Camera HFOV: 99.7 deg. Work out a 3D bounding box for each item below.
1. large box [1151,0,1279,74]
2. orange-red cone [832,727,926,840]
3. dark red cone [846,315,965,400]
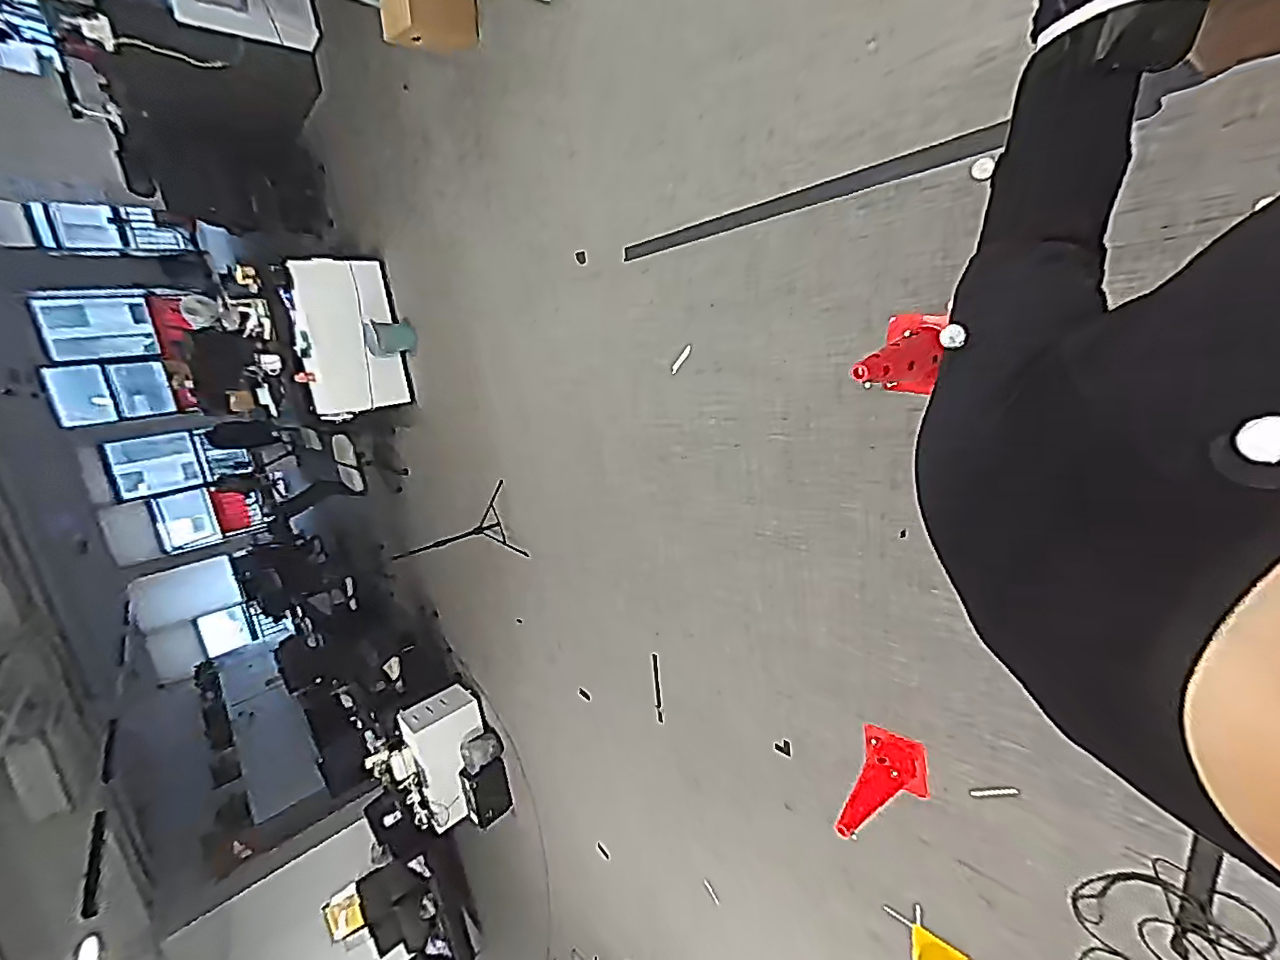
[{"bbox_3d":[0.558,-0.467,0.259,0.408,0.320,0.320,15,120,46],"label":"large box"},{"bbox_3d":[0.698,0.966,1.651,0.198,0.360,0.199,7,111,49],"label":"orange-red cone"},{"bbox_3d":[0.589,-0.271,1.263,0.201,0.394,0.202,17,117,44],"label":"dark red cone"}]
